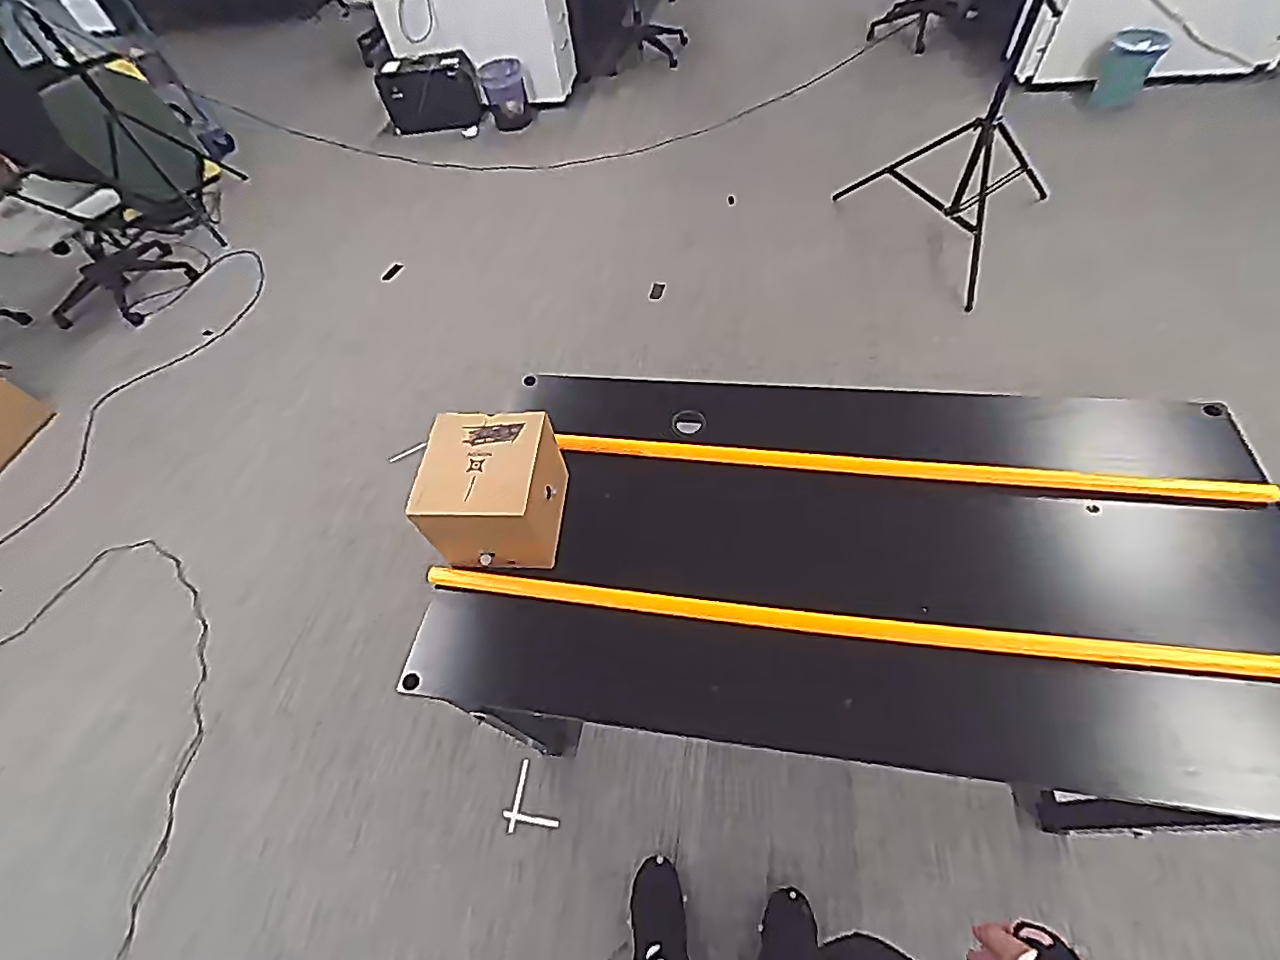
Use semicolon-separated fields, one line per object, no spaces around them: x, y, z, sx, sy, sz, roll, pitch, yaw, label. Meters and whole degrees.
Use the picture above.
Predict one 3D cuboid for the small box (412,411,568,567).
-0.211;0.015;0.819;0.168;0.176;0.179;0;57;7;small box
